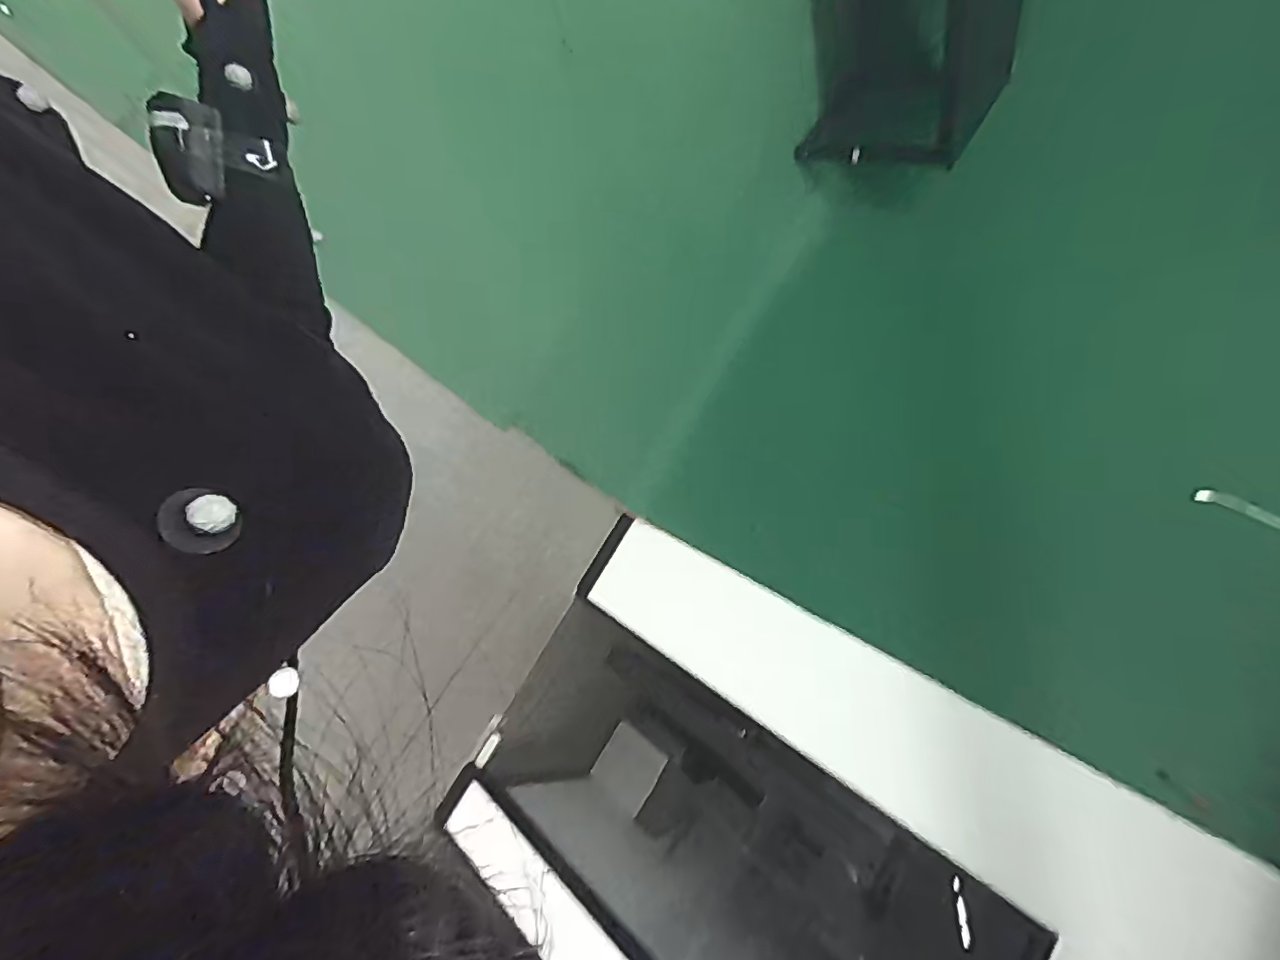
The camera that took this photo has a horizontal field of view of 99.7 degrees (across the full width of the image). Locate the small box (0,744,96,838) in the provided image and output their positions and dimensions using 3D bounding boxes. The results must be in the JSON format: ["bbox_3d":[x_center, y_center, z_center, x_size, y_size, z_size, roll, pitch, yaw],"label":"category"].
[{"bbox_3d":[-1.006,0.531,0.825,0.168,0.176,0.179,-53,144,-14],"label":"small box"}]
